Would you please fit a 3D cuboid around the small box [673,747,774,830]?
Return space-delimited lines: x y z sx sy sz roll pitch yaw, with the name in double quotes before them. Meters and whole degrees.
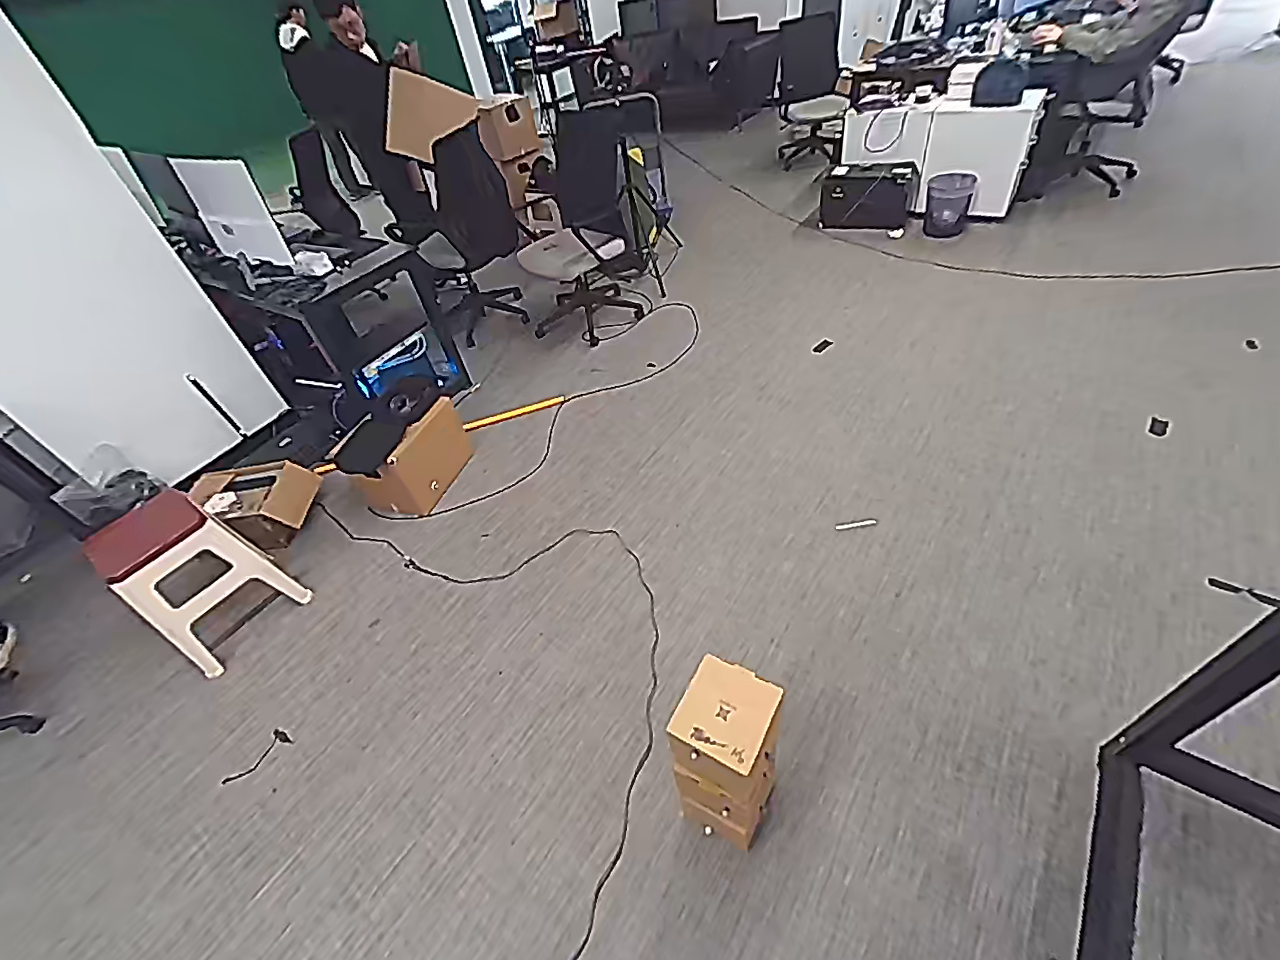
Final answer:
"small box" 0.189 0.615 1.171 0.168 0.176 0.179 16 49 25

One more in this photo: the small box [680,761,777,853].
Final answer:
"small box" 0.211 0.735 1.278 0.168 0.176 0.179 18 52 28

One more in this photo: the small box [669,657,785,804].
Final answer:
"small box" 0.172 0.491 1.063 0.168 0.176 0.179 18 50 27
